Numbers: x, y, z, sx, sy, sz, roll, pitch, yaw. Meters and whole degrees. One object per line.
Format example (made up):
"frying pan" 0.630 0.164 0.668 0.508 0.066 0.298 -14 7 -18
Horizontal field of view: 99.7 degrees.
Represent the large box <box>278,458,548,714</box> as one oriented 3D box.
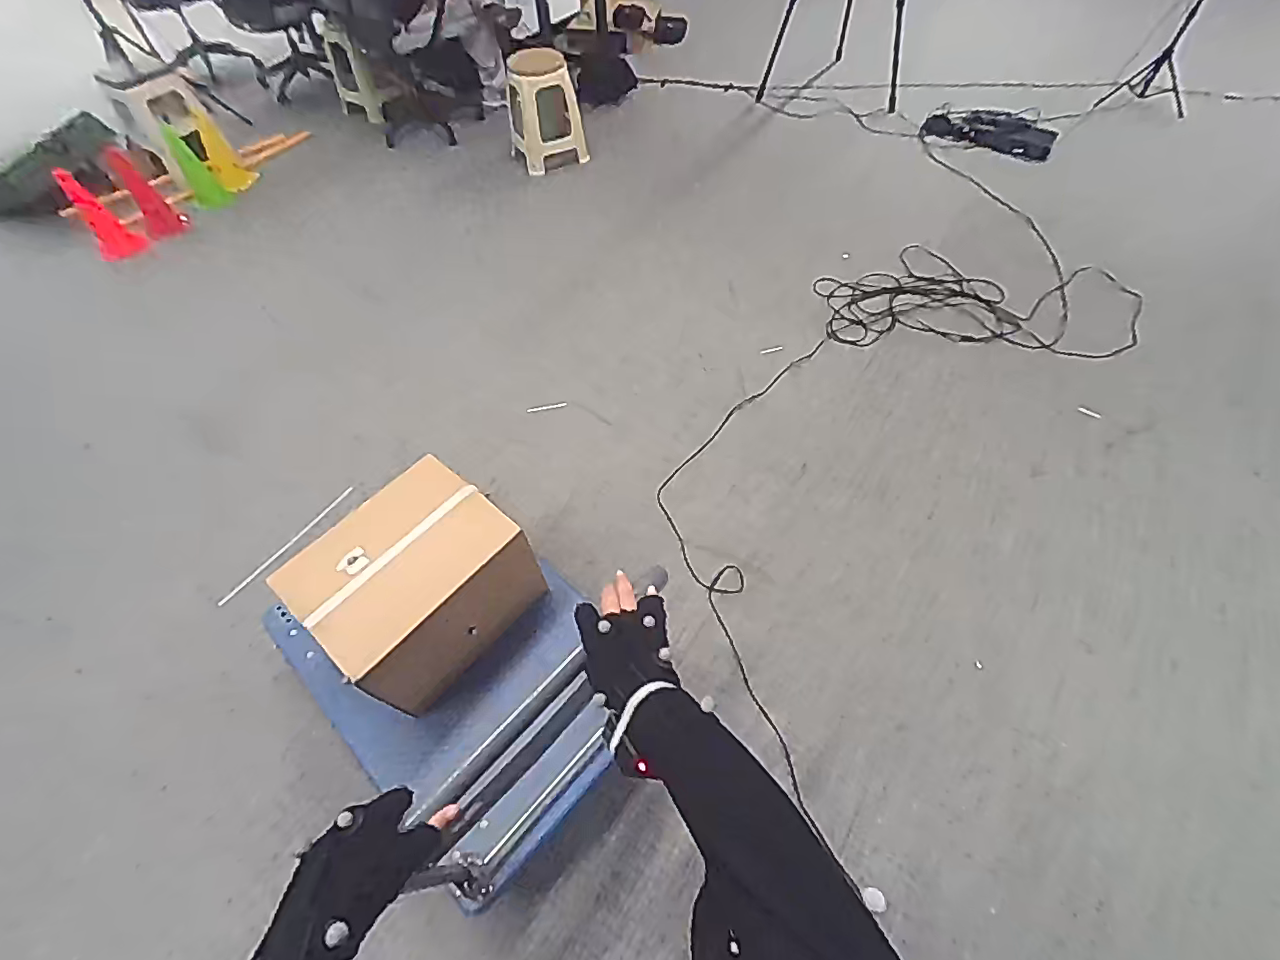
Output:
"large box" -0.472 0.237 1.215 0.320 0.320 0.408 34 64 24
